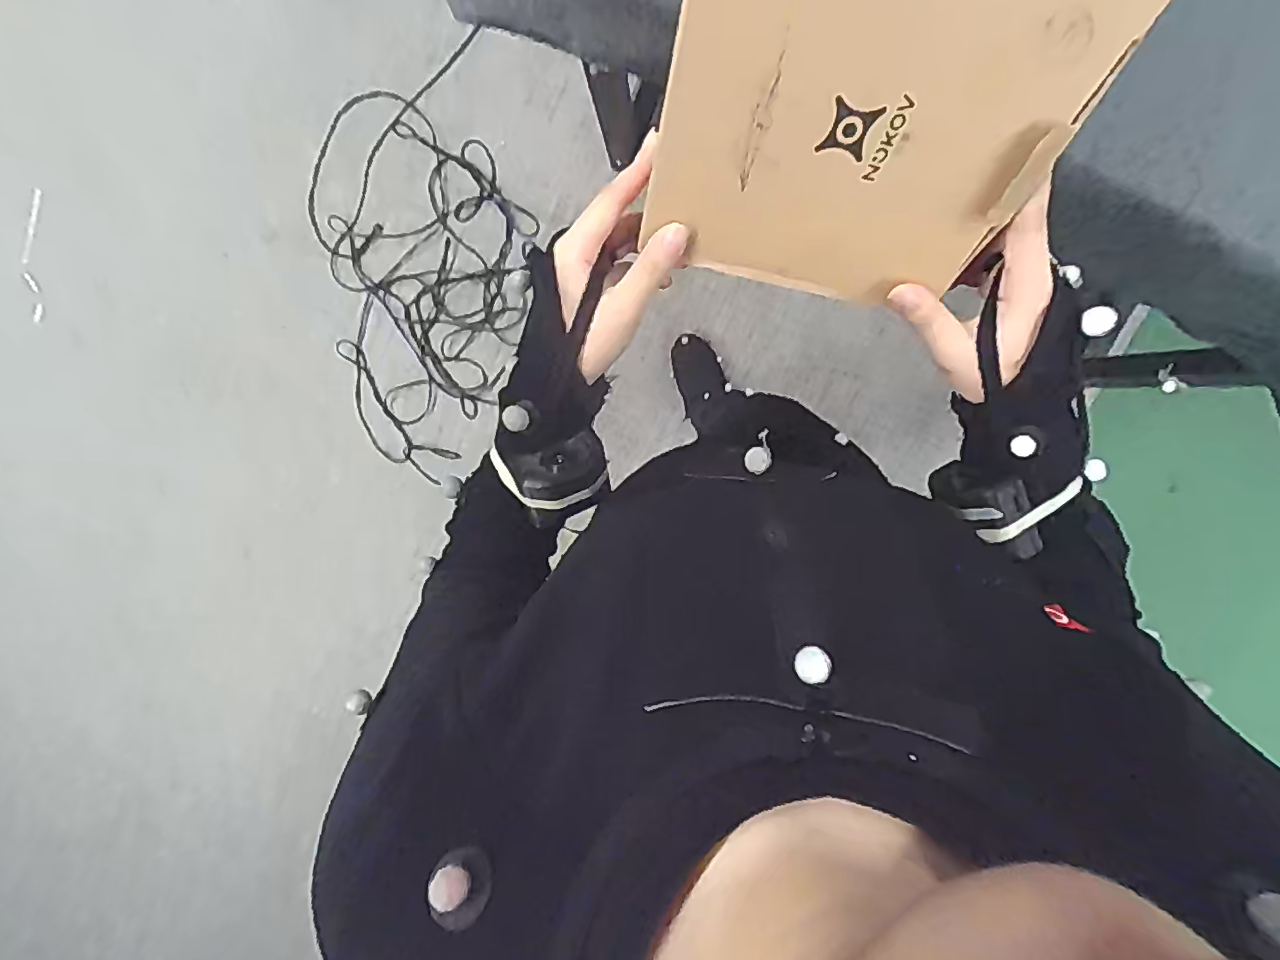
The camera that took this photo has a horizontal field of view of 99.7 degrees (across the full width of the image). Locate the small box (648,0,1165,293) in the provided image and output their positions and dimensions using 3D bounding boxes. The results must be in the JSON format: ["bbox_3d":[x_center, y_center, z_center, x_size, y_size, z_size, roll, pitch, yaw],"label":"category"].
[{"bbox_3d":[0.111,-0.231,0.282,0.179,0.176,0.168,11,144,-3],"label":"small box"}]
